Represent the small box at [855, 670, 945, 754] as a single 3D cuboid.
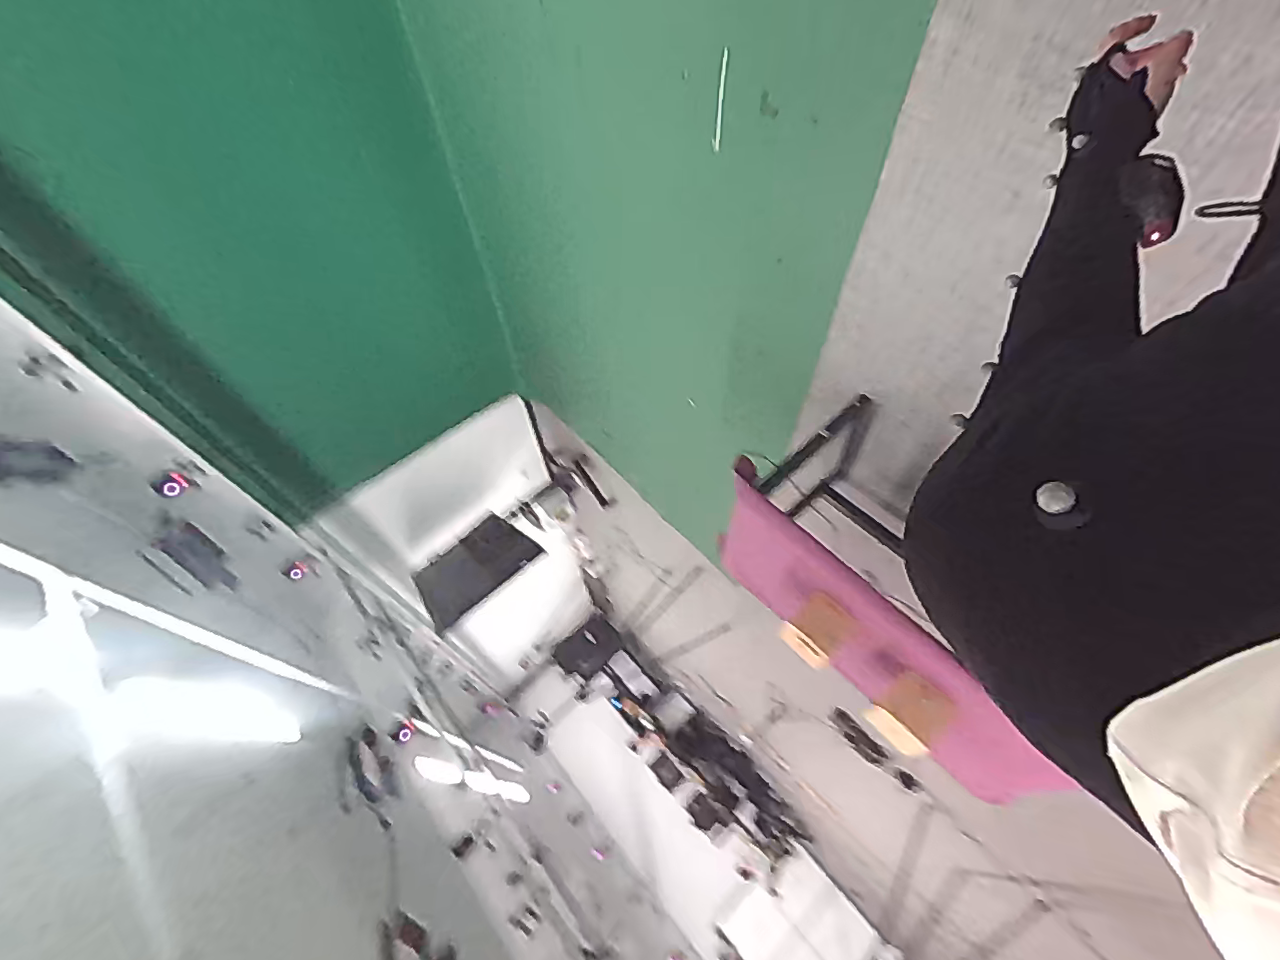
[{"bbox_3d":[0.825,0.735,1.714,0.168,0.176,0.179,43,158,24],"label":"small box"}]
